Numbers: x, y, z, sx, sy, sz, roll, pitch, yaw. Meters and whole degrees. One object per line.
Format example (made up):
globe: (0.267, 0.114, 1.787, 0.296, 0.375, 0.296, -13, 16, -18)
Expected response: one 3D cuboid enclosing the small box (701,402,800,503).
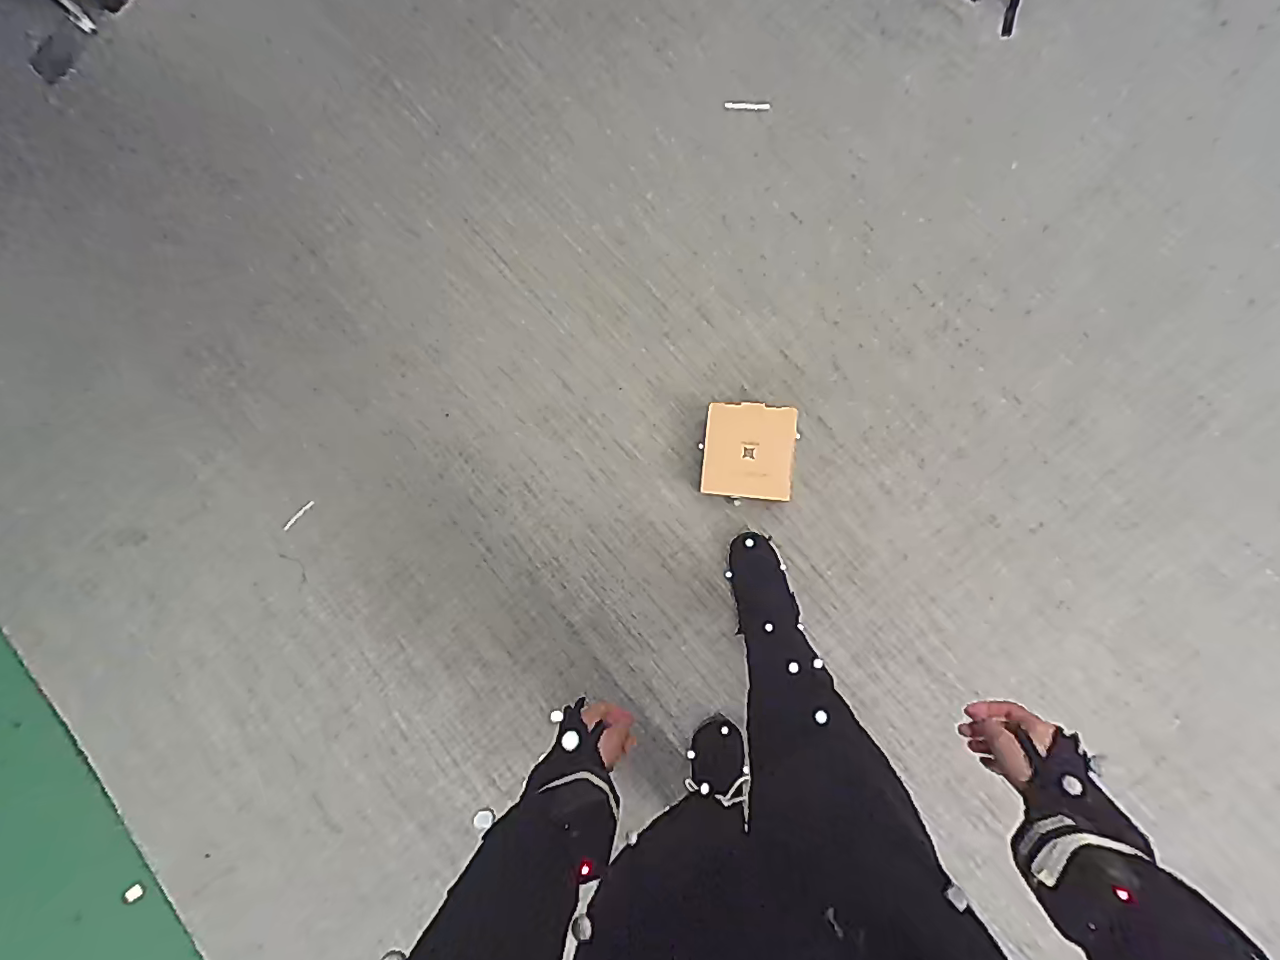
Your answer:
small box: (0.215, -0.048, 1.070, 0.168, 0.176, 0.179, 5, 89, 11)
